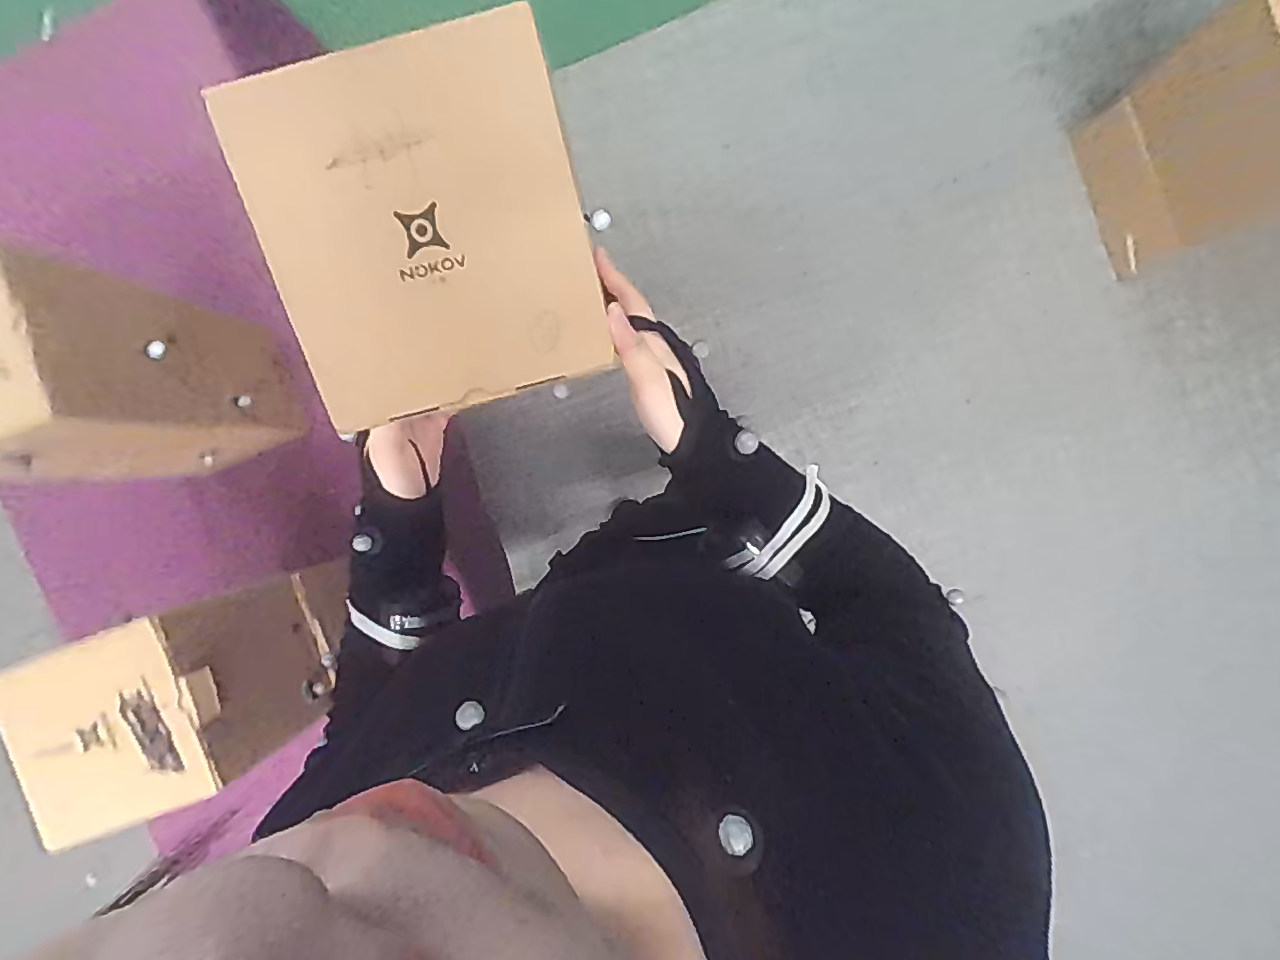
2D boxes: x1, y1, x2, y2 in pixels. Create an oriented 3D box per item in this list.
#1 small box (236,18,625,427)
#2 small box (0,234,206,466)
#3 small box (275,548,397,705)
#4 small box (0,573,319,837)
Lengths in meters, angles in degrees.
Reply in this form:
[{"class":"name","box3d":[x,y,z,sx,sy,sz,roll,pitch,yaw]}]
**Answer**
[{"class":"small box","box3d":[-0.104,-0.149,0.360,0.168,0.176,0.179,-11,106,1]},{"class":"small box","box3d":[-0.602,-0.114,0.543,0.179,0.176,0.168,-19,92,3]},{"class":"small box","box3d":[-0.453,0.201,0.717,0.179,0.176,0.168,-21,91,3]},{"class":"small box","box3d":[-0.468,0.210,0.553,0.179,0.176,0.168,-20,92,4]}]
